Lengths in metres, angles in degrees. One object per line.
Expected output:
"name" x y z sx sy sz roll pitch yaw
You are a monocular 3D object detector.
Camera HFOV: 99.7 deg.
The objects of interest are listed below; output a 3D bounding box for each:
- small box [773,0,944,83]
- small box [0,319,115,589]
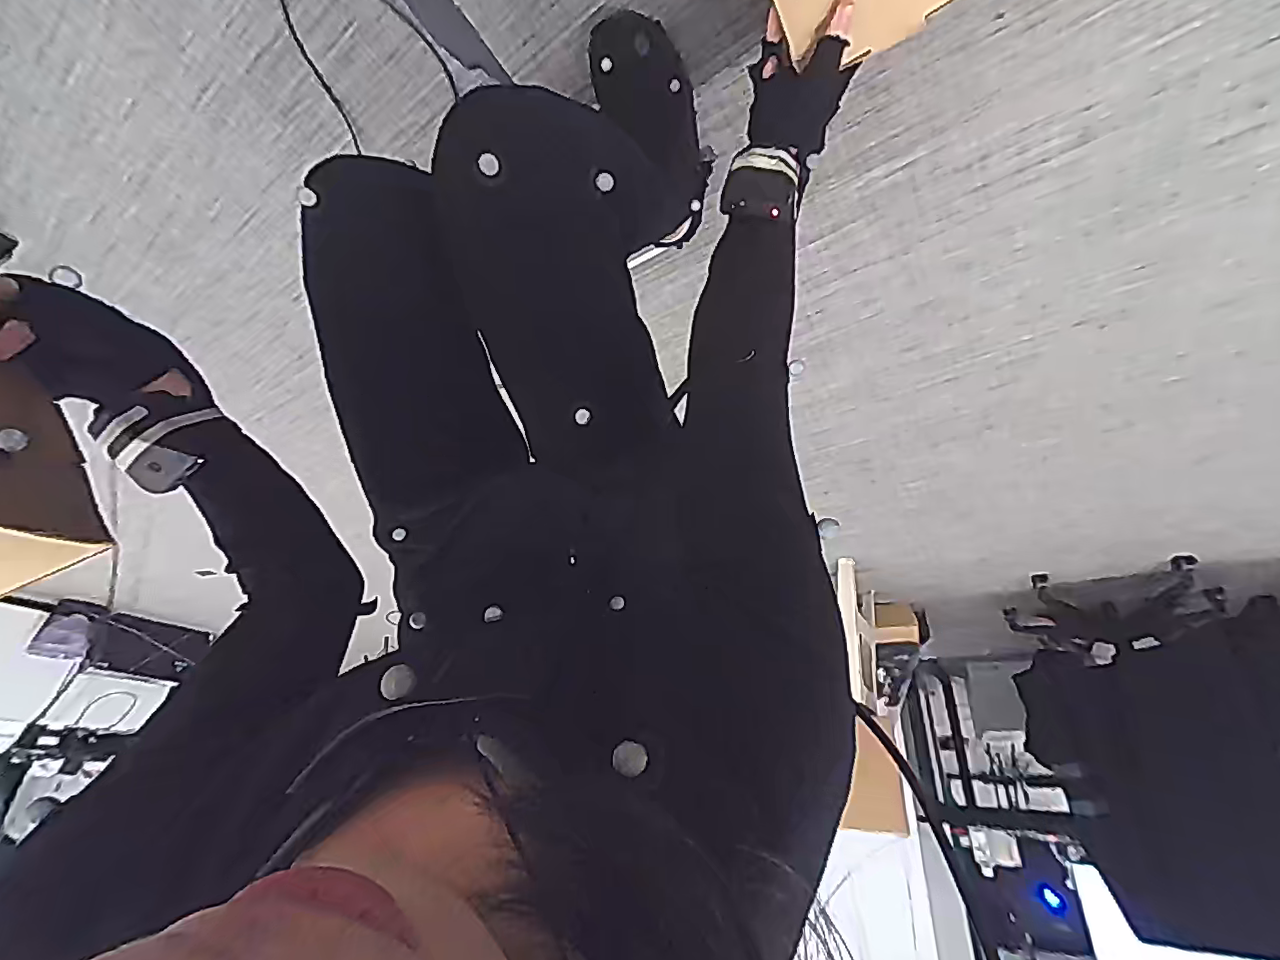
"small box" 0.180 -0.499 0.450 0.168 0.176 0.179 -17 144 30
"small box" -0.416 -0.014 0.238 0.179 0.168 0.176 -29 173 -21
